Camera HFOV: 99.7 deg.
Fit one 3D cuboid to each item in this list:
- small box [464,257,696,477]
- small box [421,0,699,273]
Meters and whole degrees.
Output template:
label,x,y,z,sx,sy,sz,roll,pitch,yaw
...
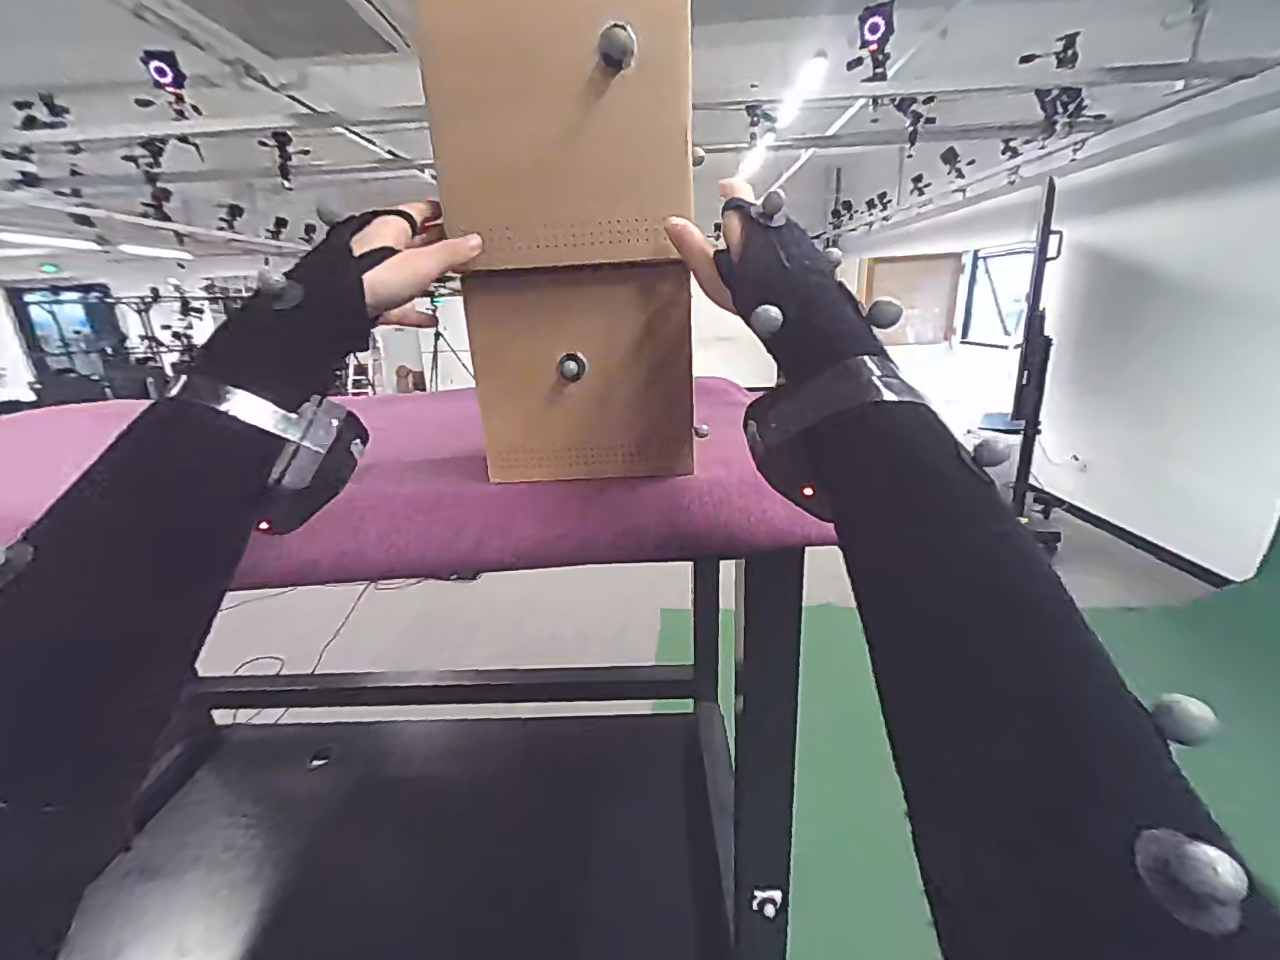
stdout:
label,x,y,z,sx,sy,sz,roll,pitch,yaw
small box,-0.039,-0.107,0.501,0.179,0.176,0.168,-3,17,3
small box,-0.046,-0.257,0.431,0.179,0.176,0.168,-3,17,2
